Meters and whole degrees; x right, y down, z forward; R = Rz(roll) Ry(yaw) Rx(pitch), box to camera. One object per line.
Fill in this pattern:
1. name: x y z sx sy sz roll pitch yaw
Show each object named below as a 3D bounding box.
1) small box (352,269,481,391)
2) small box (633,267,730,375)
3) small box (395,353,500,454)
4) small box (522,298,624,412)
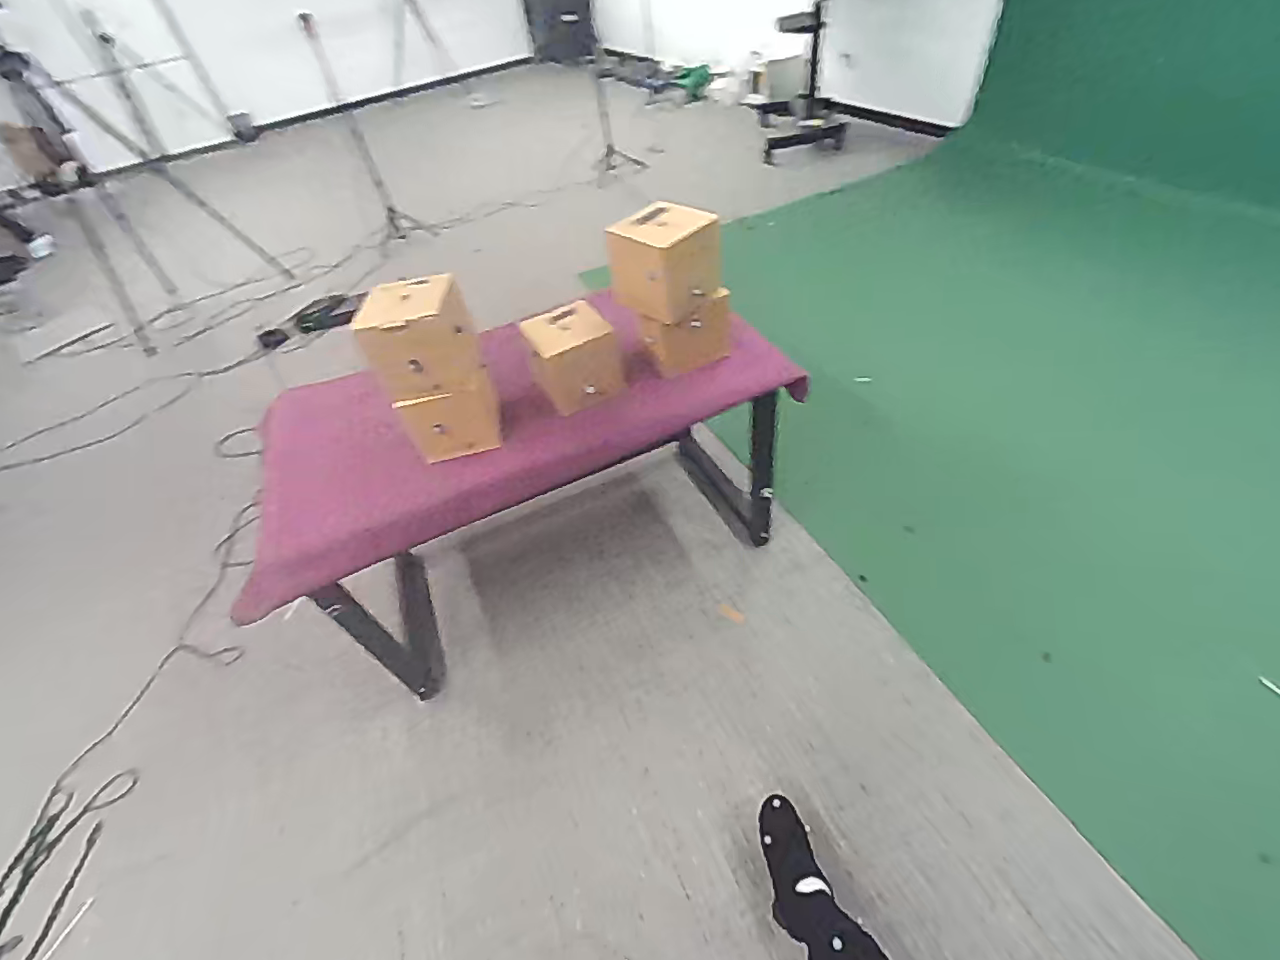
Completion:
1. small box: -0.431 -0.292 1.077 0.168 0.176 0.179 -8 46 3
2. small box: 0.103 -0.375 1.287 0.179 0.176 0.168 -21 47 -10
3. small box: -0.413 -0.174 1.190 0.168 0.176 0.179 -13 46 -2
4. small box: -0.152 -0.288 1.250 0.168 0.176 0.179 -26 49 -14
